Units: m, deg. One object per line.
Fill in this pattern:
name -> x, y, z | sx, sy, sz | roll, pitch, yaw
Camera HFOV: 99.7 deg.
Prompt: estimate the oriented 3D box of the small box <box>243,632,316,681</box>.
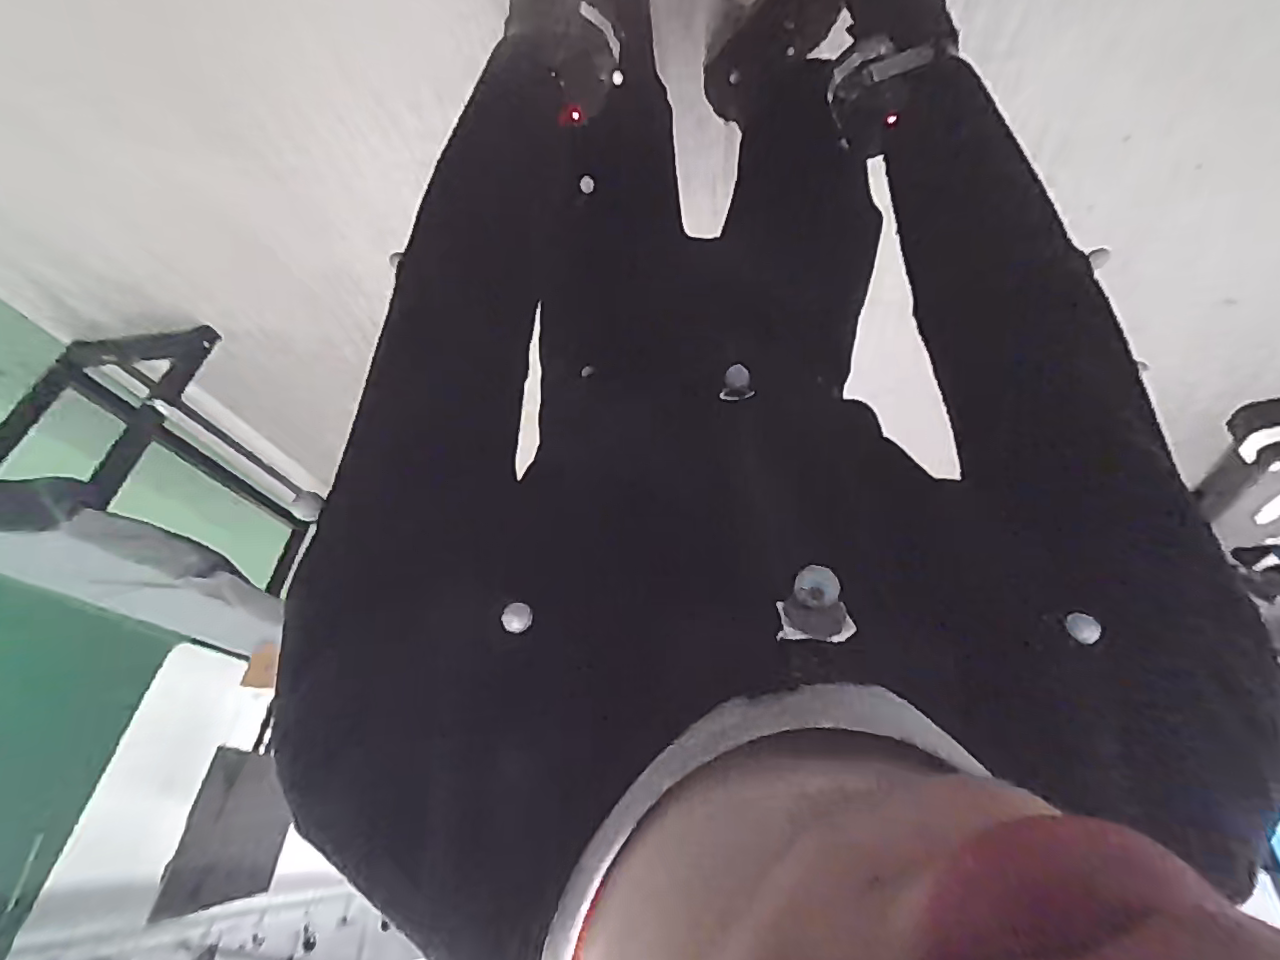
small box -> -1.500, 0.740, 2.269 | 0.179, 0.176, 0.168 | -4, 147, 15
